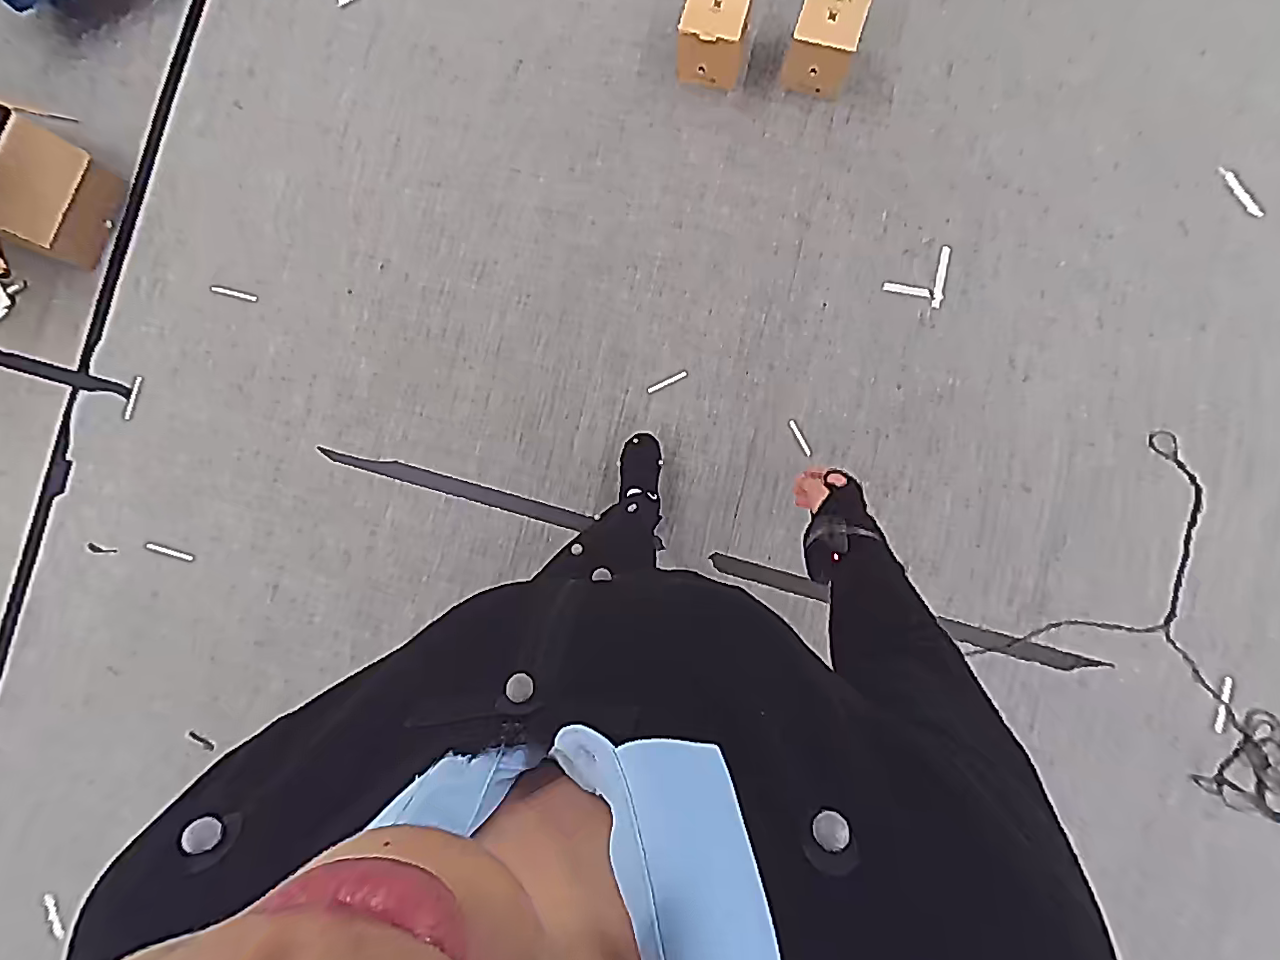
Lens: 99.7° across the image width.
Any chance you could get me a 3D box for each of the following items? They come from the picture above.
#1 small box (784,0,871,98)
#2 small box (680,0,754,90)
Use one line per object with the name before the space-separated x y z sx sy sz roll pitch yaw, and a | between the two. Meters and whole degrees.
small box | 0.502 -1.188 1.466 0.168 0.176 0.179 18 87 5
small box | 0.210 -1.237 1.498 0.168 0.176 0.179 15 88 6
